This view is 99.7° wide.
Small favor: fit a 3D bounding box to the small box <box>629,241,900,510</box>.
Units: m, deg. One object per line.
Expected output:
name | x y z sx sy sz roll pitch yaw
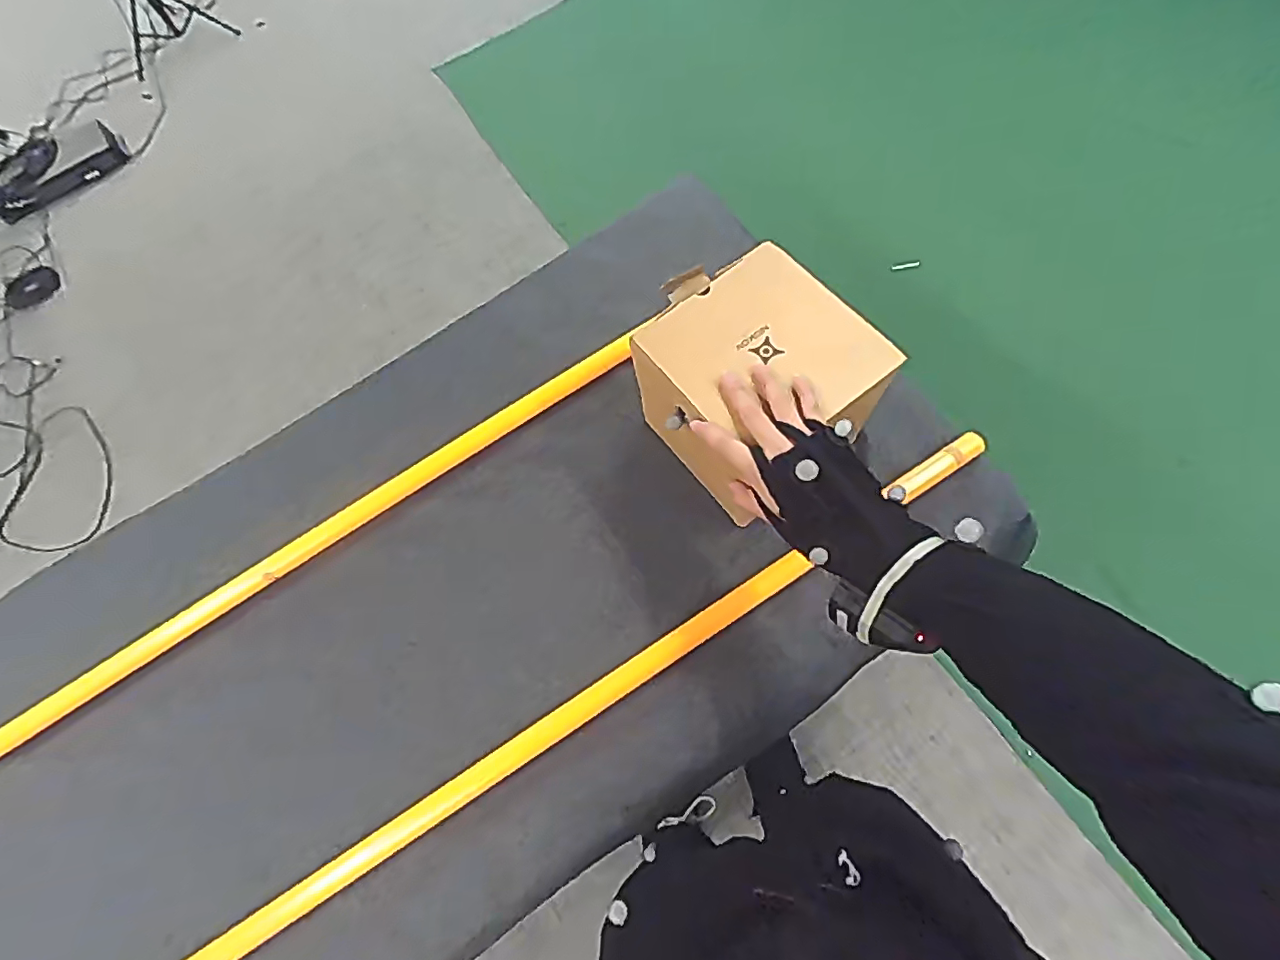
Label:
small box | 0.114 -0.088 0.543 0.168 0.176 0.179 -37 69 -7
